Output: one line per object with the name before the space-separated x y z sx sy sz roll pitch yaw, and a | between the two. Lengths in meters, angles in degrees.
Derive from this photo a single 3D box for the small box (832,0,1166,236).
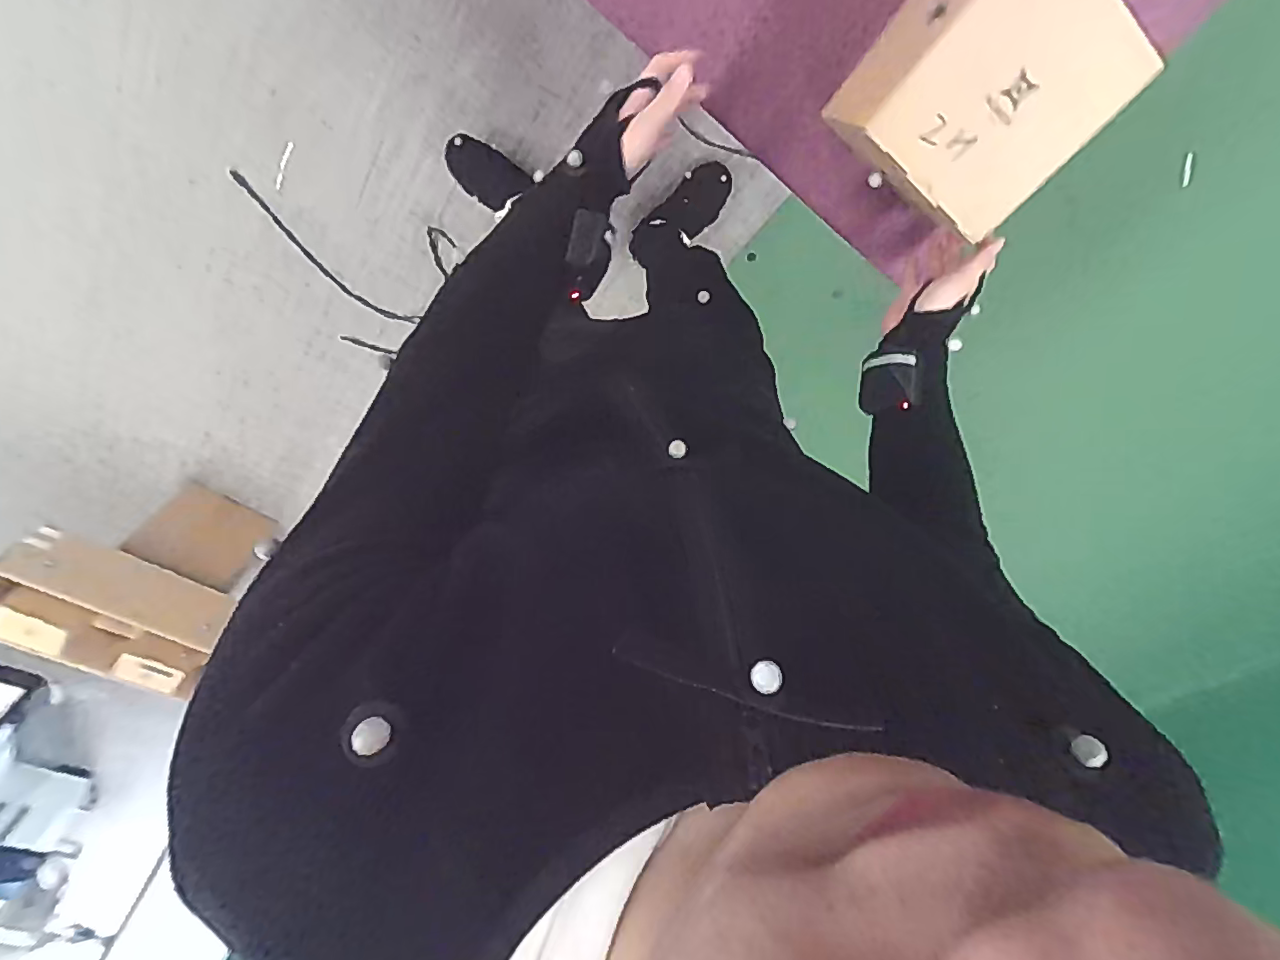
small box | 0.313 -0.377 0.514 0.168 0.176 0.179 31 124 -19

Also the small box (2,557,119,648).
small box | -1.718 0.363 1.610 0.168 0.176 0.179 36 121 -24
